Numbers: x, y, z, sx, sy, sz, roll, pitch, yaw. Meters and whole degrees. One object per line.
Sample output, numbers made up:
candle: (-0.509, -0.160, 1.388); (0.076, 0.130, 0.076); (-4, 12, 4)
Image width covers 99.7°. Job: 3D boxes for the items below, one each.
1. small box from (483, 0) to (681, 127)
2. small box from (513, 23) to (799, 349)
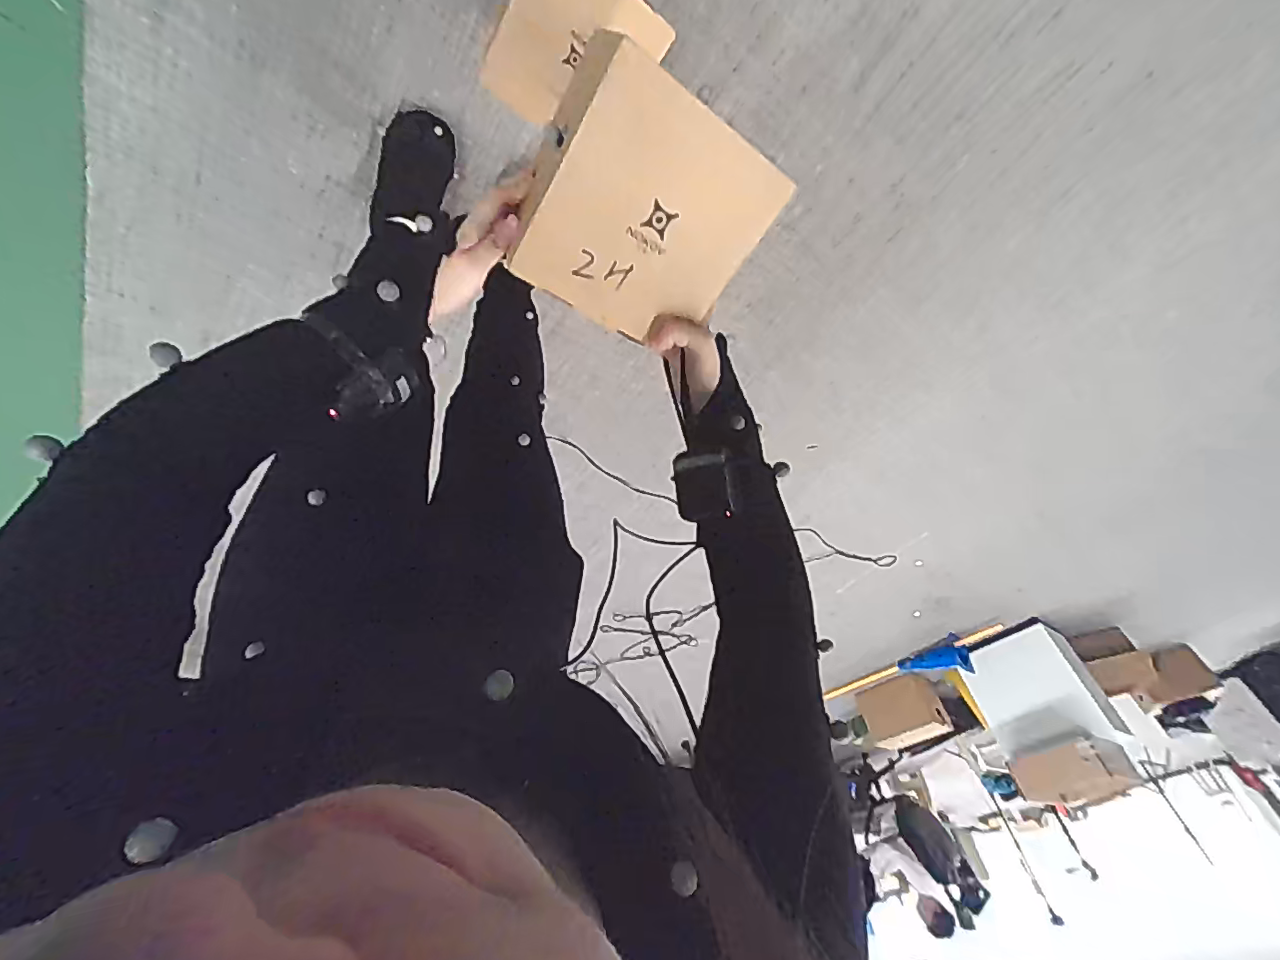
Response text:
small box: (-0.077, -0.542, 0.663); (0.168, 0.176, 0.179); (23, 130, -30)
small box: (-0.002, -0.256, 0.477); (0.168, 0.176, 0.179); (22, 123, -27)
